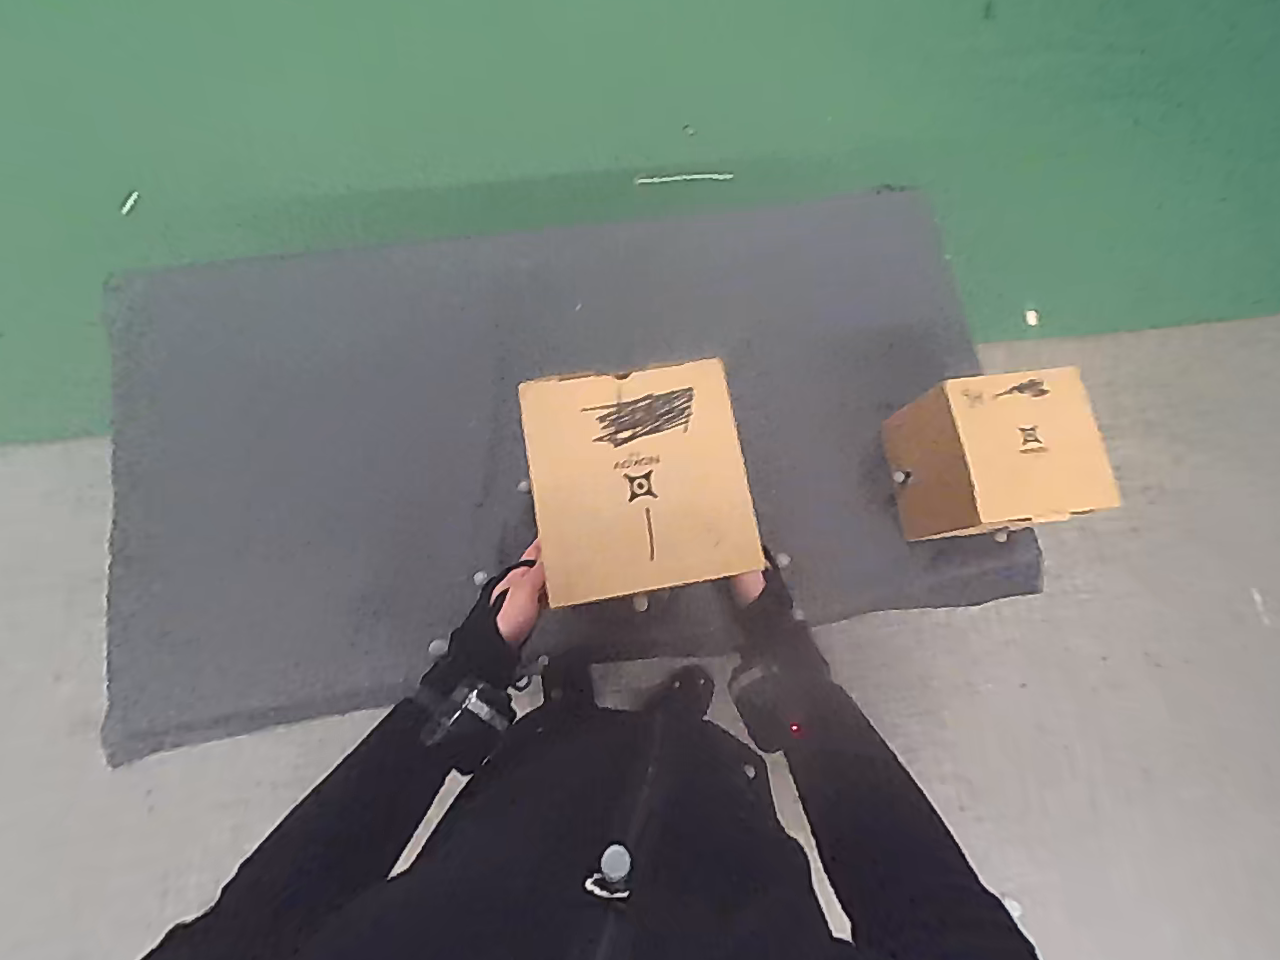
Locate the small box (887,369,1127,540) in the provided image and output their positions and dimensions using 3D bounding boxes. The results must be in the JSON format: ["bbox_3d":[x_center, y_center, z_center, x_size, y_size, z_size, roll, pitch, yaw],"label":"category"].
[{"bbox_3d":[0.444,-0.020,0.686,0.168,0.176,0.179,-6,77,-3],"label":"small box"}]

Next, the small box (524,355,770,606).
[{"bbox_3d":[-0.005,0.012,0.480,0.168,0.176,0.179,-8,78,-7],"label":"small box"}]
